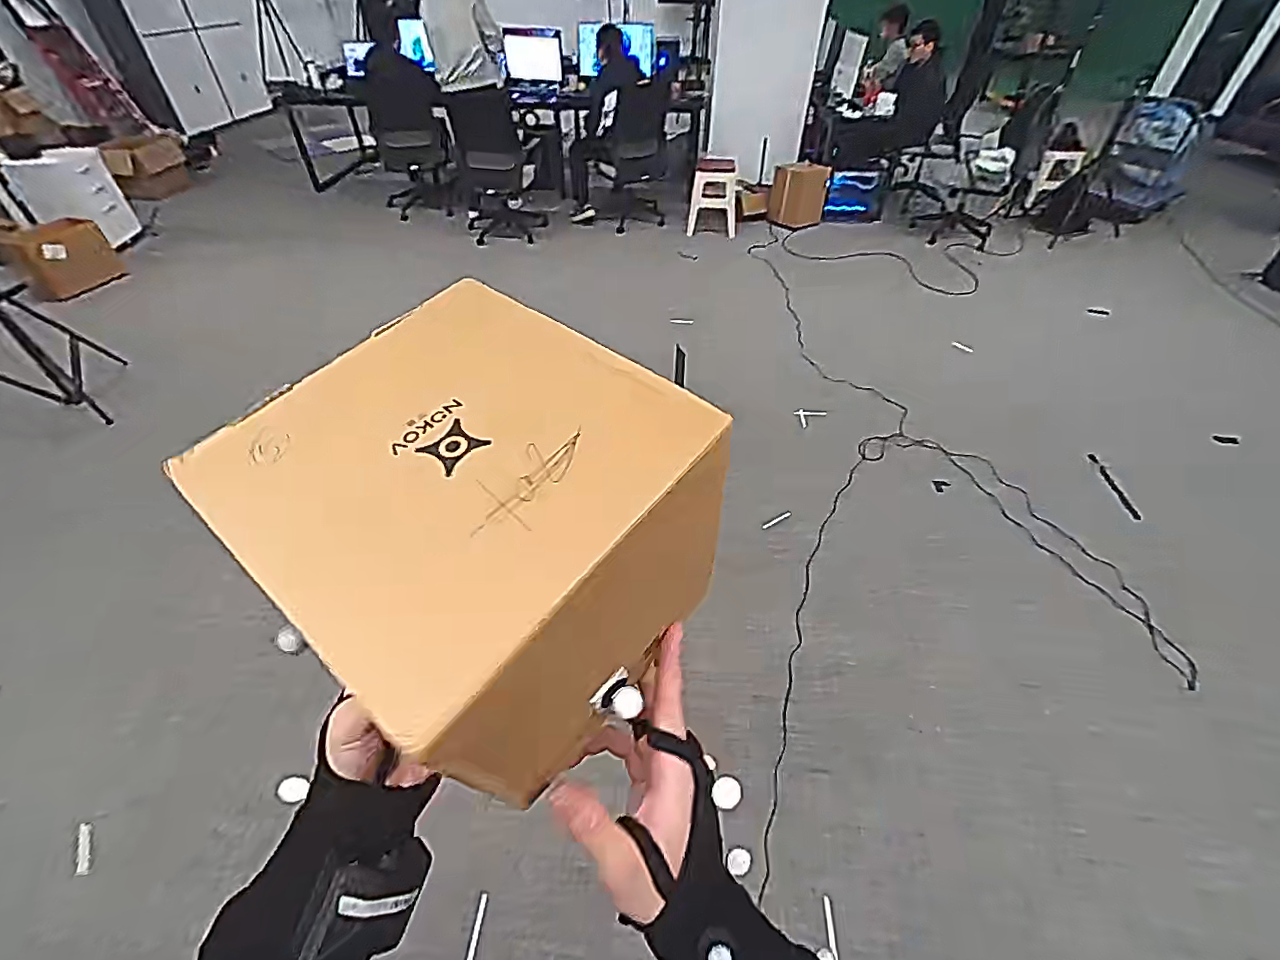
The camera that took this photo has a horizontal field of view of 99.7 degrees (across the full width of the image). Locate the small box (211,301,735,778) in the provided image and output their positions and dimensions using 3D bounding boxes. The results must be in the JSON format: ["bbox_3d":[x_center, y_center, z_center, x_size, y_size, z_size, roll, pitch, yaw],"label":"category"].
[{"bbox_3d":[-0.070,0.037,0.304,0.179,0.176,0.168,31,62,22],"label":"small box"}]
